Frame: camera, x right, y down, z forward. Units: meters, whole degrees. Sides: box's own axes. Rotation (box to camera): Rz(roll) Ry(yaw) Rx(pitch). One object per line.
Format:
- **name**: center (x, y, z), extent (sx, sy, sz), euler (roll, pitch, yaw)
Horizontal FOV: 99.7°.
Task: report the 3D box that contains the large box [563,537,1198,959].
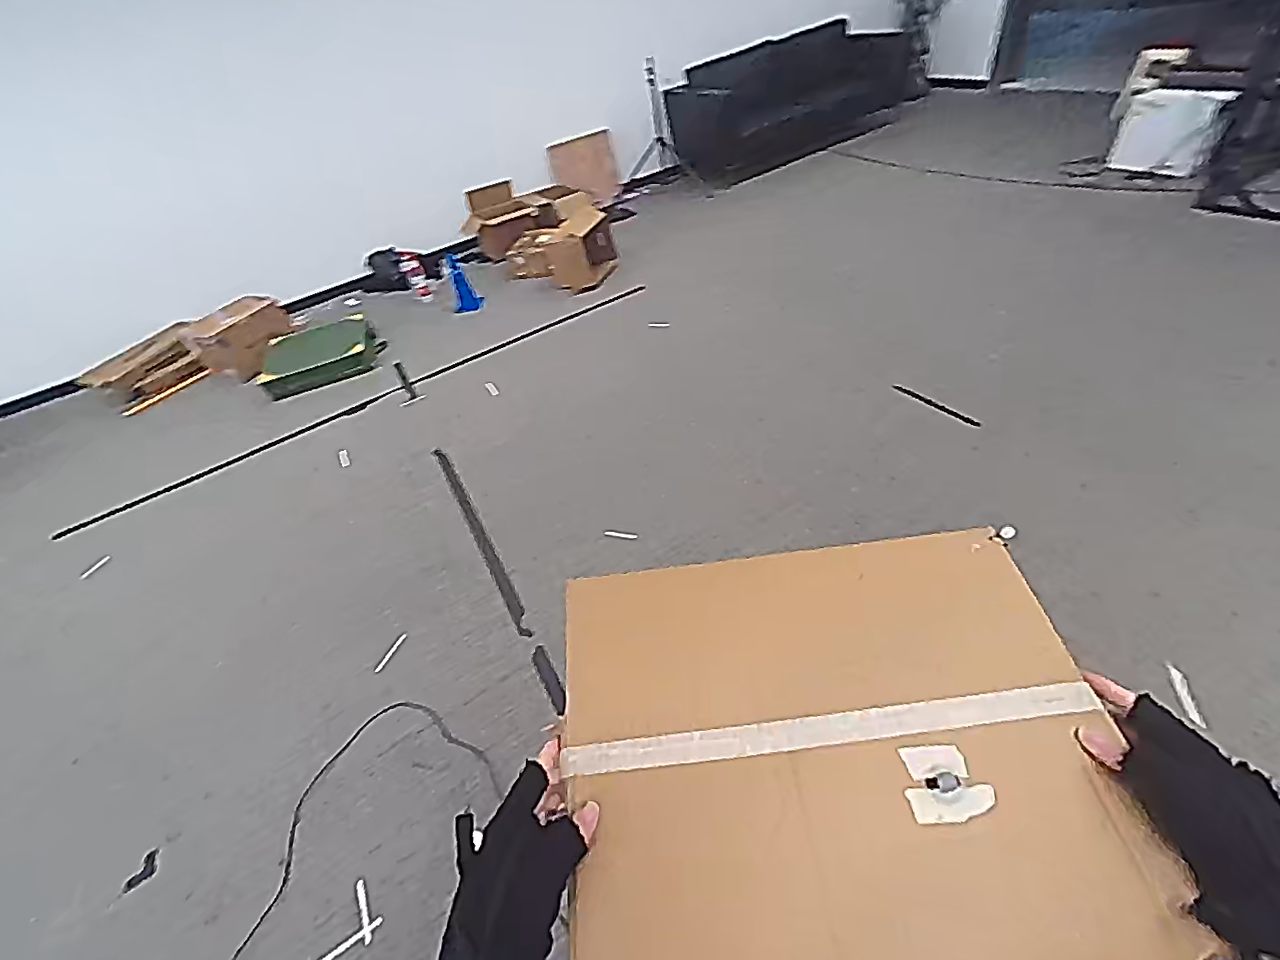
- **large box**: center (0.151, 0.294, 0.545), extent (0.408, 0.320, 0.320), euler (-8, 52, 0)
